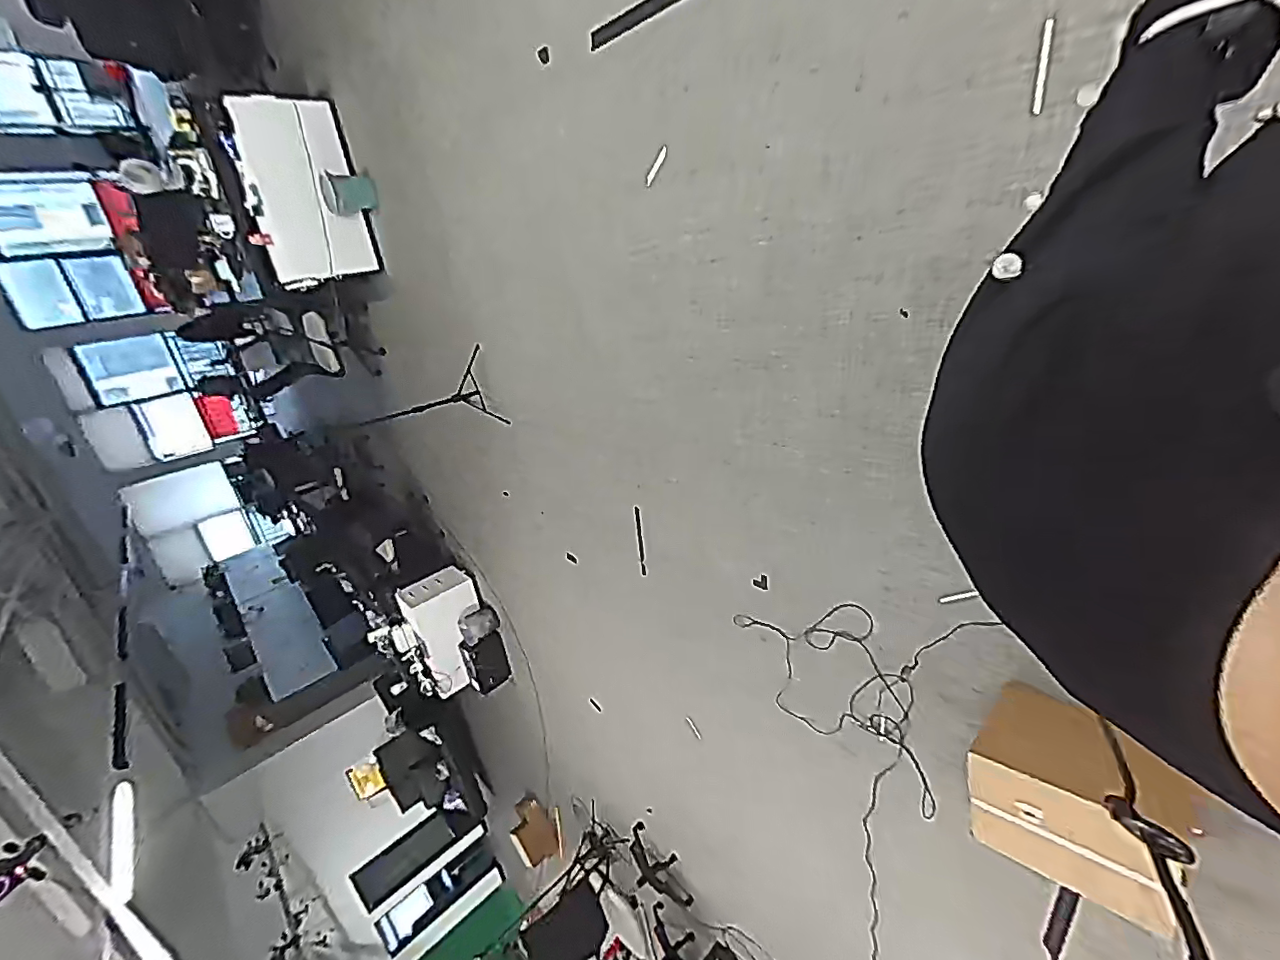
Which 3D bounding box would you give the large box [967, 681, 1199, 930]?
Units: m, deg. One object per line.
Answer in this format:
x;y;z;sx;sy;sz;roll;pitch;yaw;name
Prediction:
1.119;0.787;1.380;0.408;0.320;0.320;8;117;49;large box
